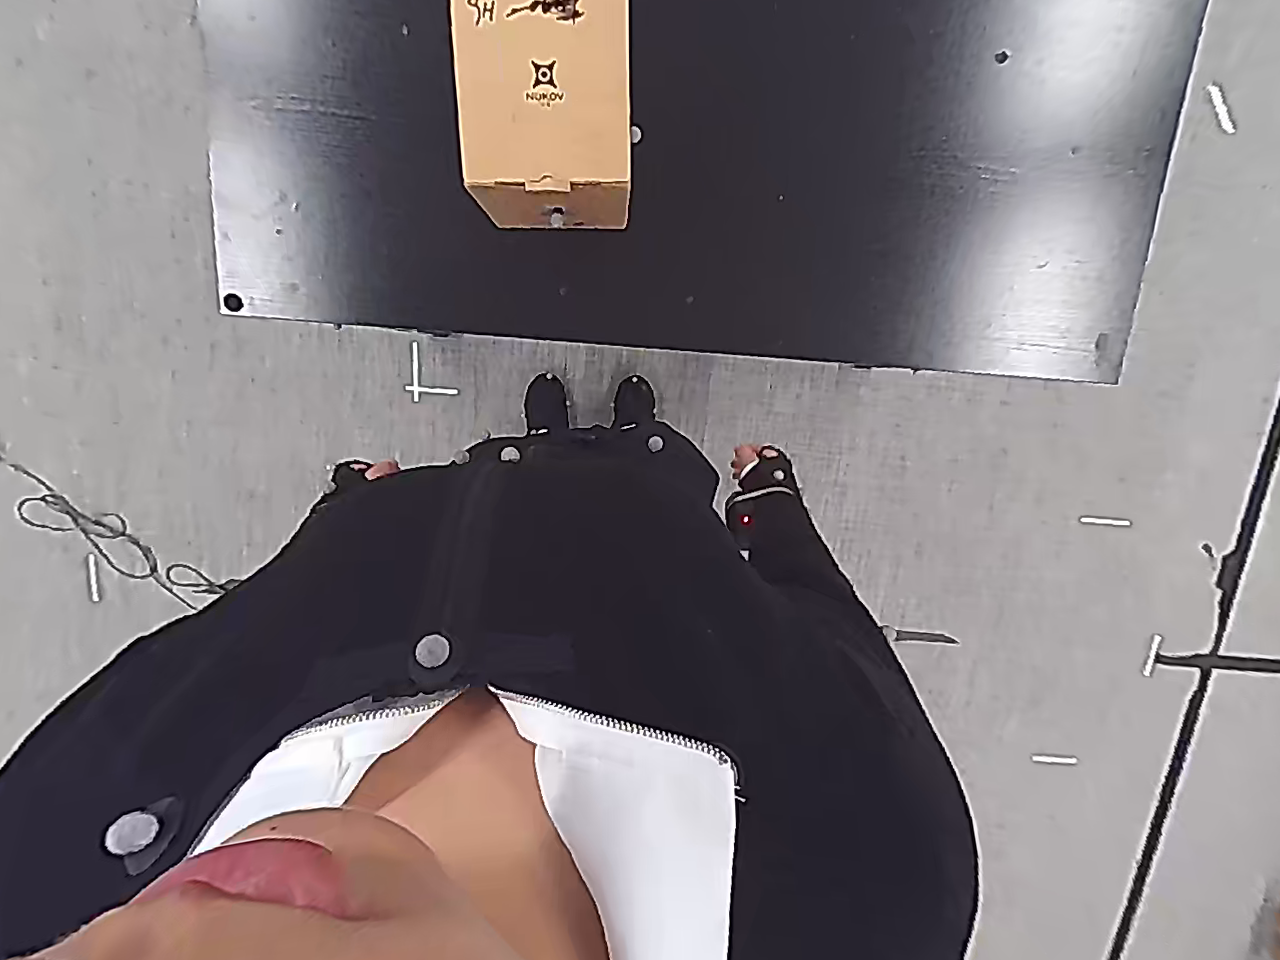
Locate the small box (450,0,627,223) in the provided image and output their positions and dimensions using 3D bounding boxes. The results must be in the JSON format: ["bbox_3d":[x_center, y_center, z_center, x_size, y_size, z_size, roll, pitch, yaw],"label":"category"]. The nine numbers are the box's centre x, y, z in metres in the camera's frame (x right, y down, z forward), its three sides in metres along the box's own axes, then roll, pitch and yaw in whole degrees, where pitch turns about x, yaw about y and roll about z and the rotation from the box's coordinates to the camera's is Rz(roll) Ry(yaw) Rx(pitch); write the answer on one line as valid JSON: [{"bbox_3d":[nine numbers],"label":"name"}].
[{"bbox_3d":[-0.097,-0.394,0.596,0.168,0.176,0.179,-1,102,-2],"label":"small box"}]
